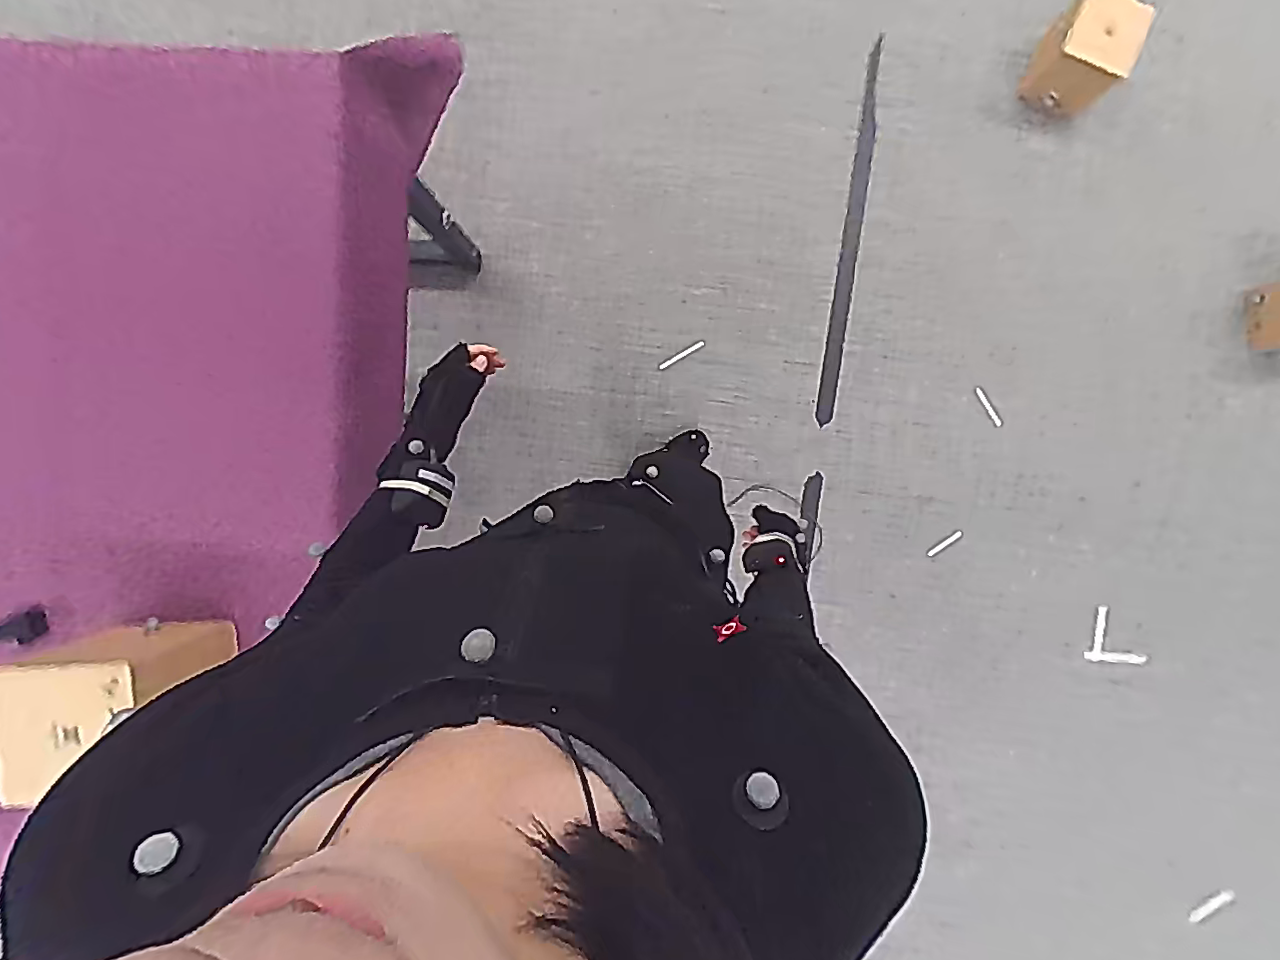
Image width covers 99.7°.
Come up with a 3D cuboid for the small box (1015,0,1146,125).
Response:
[{"bbox_3d":[1.111,-1.065,1.382,0.168,0.176,0.179,22,93,0],"label":"small box"}]

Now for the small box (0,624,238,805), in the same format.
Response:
[{"bbox_3d":[-0.680,0.295,0.711,0.179,0.176,0.168,-3,92,1],"label":"small box"}]

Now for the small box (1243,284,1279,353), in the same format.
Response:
[{"bbox_3d":[1.740,-0.434,1.409,0.179,0.176,0.168,-5,92,0],"label":"small box"}]
